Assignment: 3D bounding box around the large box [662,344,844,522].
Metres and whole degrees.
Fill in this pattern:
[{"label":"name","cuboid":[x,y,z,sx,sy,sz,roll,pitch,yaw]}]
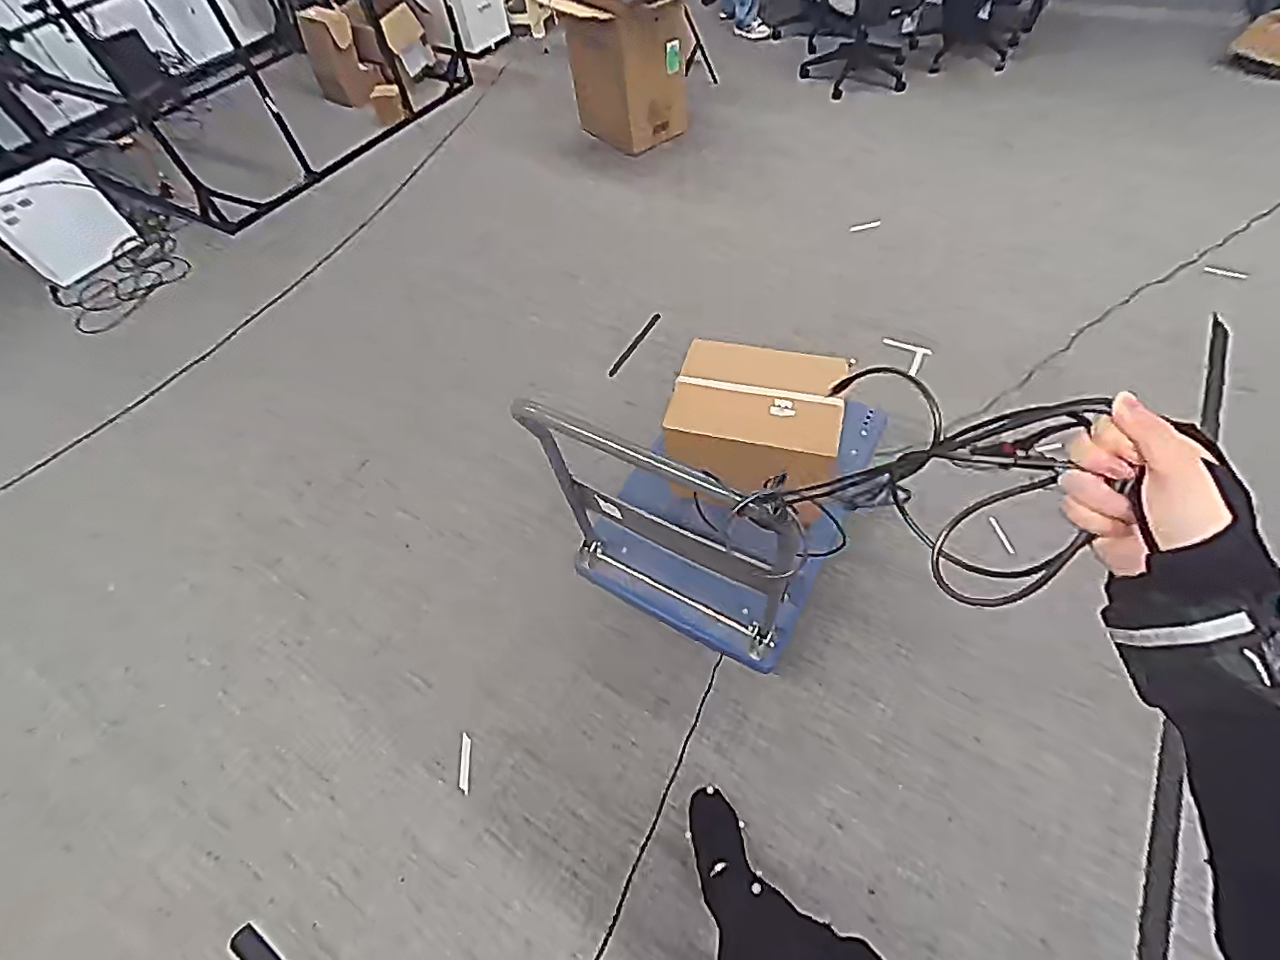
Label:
[{"label":"large box","cuboid":[0.290,-0.123,1.435,0.408,0.320,0.320,11,58,13]}]
